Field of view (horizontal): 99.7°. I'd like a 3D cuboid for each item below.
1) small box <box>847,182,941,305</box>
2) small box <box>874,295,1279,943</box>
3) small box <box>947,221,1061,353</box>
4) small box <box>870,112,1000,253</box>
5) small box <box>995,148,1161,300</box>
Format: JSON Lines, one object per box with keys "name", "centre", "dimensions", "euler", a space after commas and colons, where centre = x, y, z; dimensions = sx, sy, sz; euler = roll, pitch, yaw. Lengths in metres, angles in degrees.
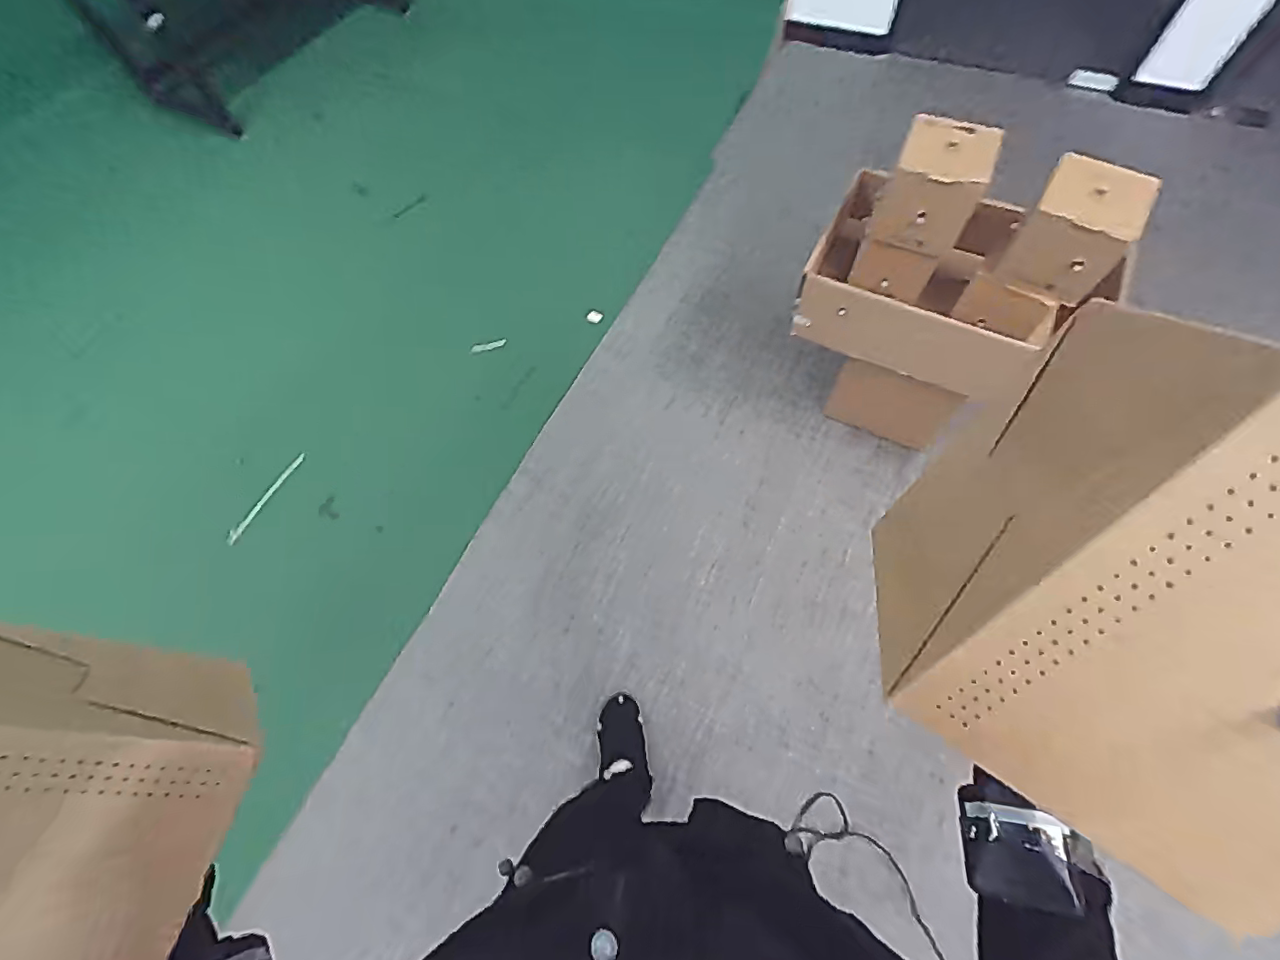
{"name": "small box", "centre": [0.598, -0.545, 1.253], "dimensions": [0.168, 0.176, 0.179], "euler": [20, 69, 14]}
{"name": "small box", "centre": [0.228, 0.043, 0.243], "dimensions": [0.176, 0.179, 0.168], "euler": [33, 31, 5]}
{"name": "small box", "centre": [0.812, -0.417, 1.180], "dimensions": [0.168, 0.176, 0.179], "euler": [34, 73, 18]}
{"name": "small box", "centre": [0.588, -0.598, 1.098], "dimensions": [0.168, 0.176, 0.179], "euler": [21, 69, 13]}
{"name": "small box", "centre": [0.818, -0.479, 1.028], "dimensions": [0.168, 0.176, 0.179], "euler": [29, 71, 16]}
